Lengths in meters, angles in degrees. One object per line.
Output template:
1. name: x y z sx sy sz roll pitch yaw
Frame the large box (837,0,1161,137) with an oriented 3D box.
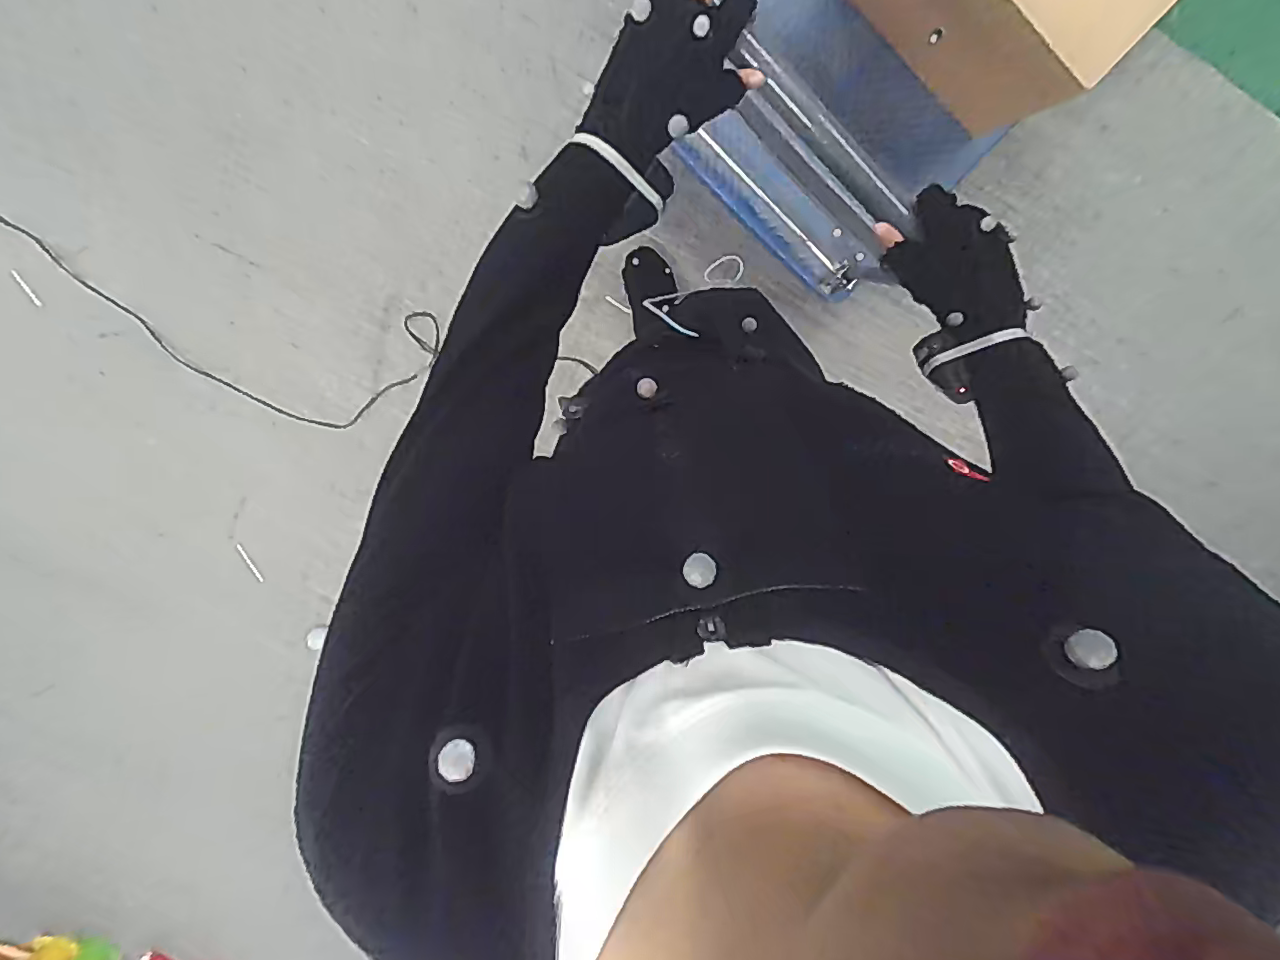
1. large box: 0.564 -0.824 0.819 0.408 0.320 0.320 38 108 -10
